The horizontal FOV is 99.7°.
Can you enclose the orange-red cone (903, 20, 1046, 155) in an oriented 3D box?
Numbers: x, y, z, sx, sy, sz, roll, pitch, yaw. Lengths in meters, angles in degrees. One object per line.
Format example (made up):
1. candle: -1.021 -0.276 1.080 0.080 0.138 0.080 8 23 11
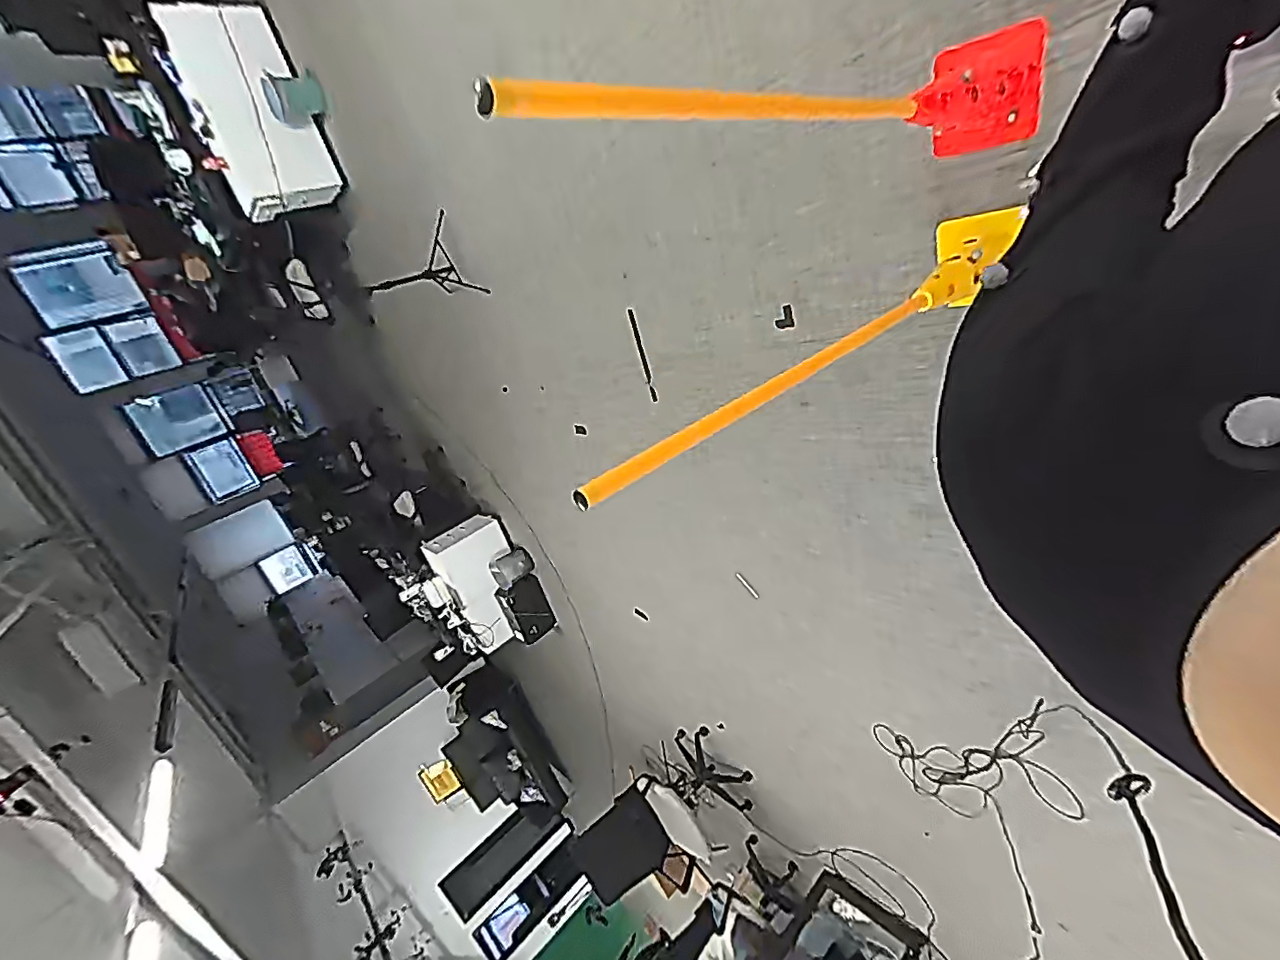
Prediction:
1. orange-red cone: 0.590 -0.722 1.020 0.198 0.360 0.199 16 128 45
